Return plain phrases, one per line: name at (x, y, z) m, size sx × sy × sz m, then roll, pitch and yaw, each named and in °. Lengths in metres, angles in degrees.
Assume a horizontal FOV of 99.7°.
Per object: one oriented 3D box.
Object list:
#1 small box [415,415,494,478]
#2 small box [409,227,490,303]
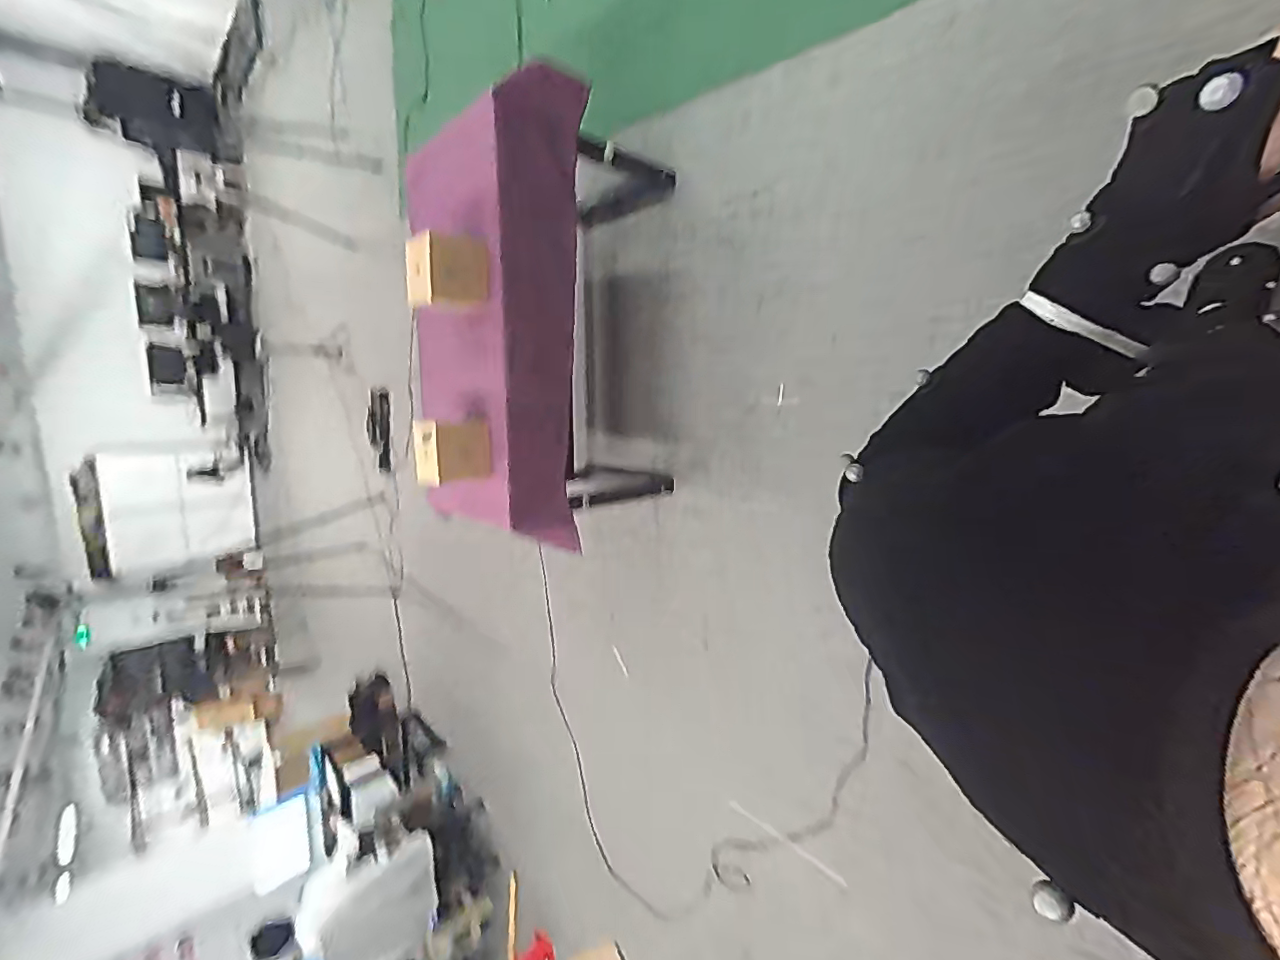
small box at (-0.561, -0.107, 1.641) m, size 0.168 × 0.176 × 0.179 m, roll 7°, pitch 102°, yaw 47°
small box at (-0.541, -0.604, 1.543) m, size 0.168 × 0.176 × 0.179 m, roll 15°, pitch 107°, yaw 44°
